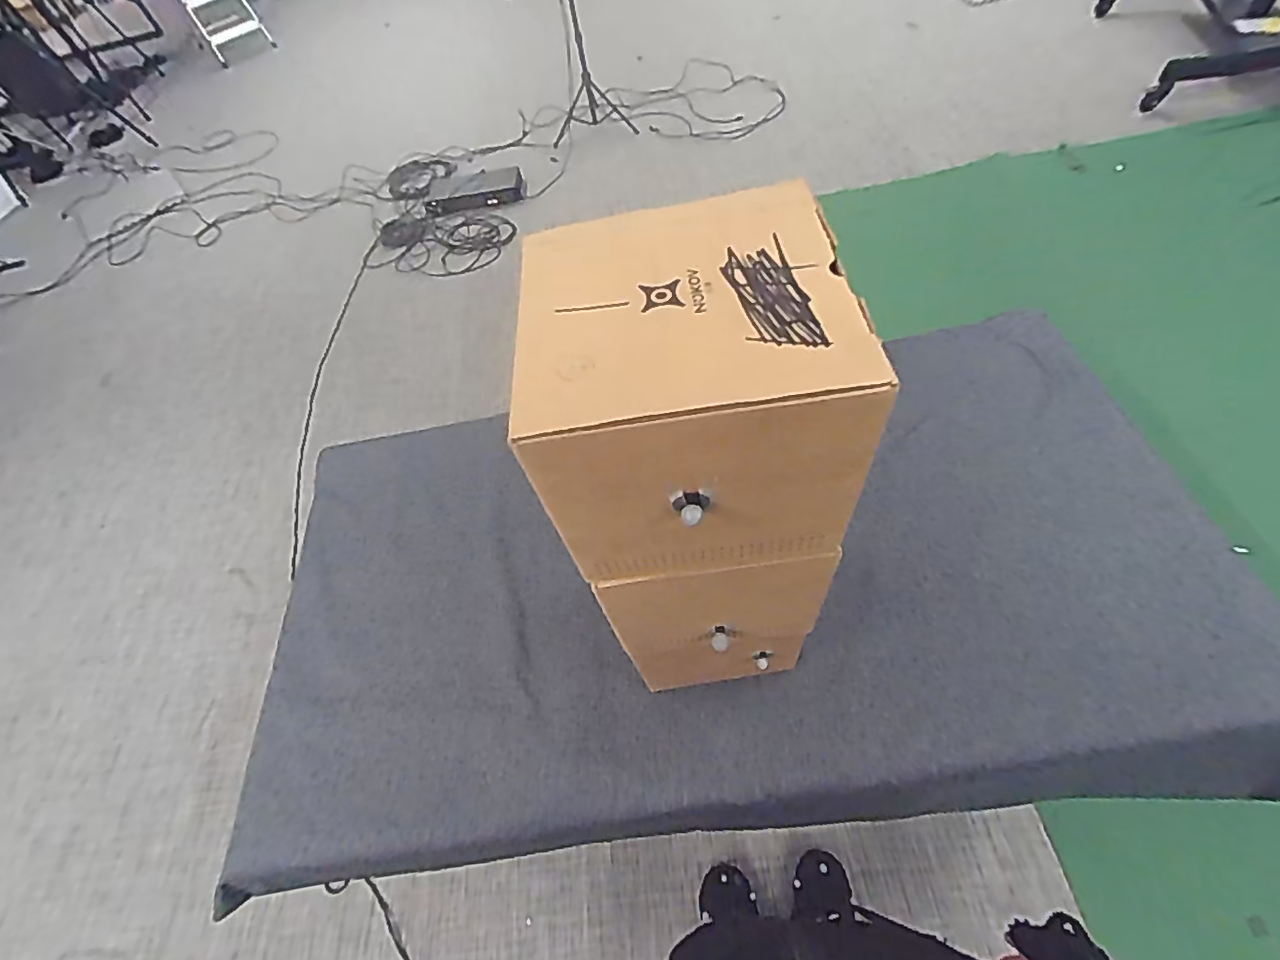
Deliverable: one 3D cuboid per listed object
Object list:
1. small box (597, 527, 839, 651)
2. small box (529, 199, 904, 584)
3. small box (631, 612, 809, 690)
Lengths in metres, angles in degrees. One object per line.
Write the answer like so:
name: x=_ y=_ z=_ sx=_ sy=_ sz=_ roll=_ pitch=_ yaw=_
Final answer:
small box: x=0.057 y=0.044 z=0.492 sx=0.179 sy=0.176 sz=0.168 roll=-9 pitch=55 yaw=3
small box: x=0.035 y=-0.048 z=0.356 sx=0.179 sy=0.176 sz=0.168 roll=-10 pitch=56 yaw=1
small box: x=0.079 y=0.130 z=0.628 sx=0.179 sy=0.176 sz=0.168 roll=-12 pitch=55 yaw=3
